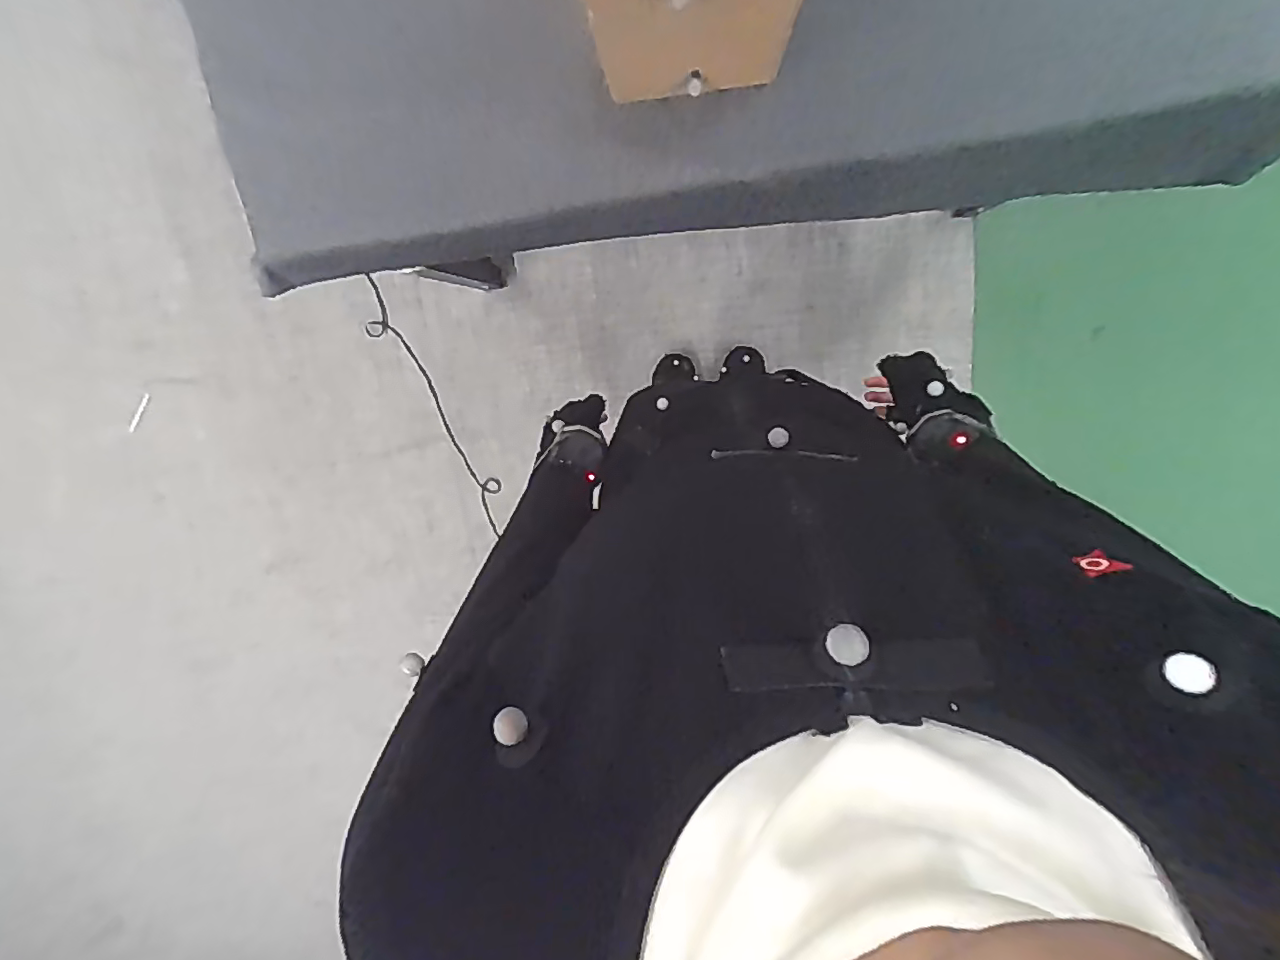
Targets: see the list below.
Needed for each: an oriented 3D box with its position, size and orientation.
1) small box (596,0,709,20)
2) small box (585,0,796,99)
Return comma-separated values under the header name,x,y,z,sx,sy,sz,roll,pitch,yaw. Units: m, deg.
name,x,y,z,sx,sy,sz,roll,pitch,yaw
small box,0.024,-0.443,0.333,0.168,0.176,0.179,-6,105,8
small box,0.039,-0.480,0.491,0.179,0.176,0.168,-5,104,5
